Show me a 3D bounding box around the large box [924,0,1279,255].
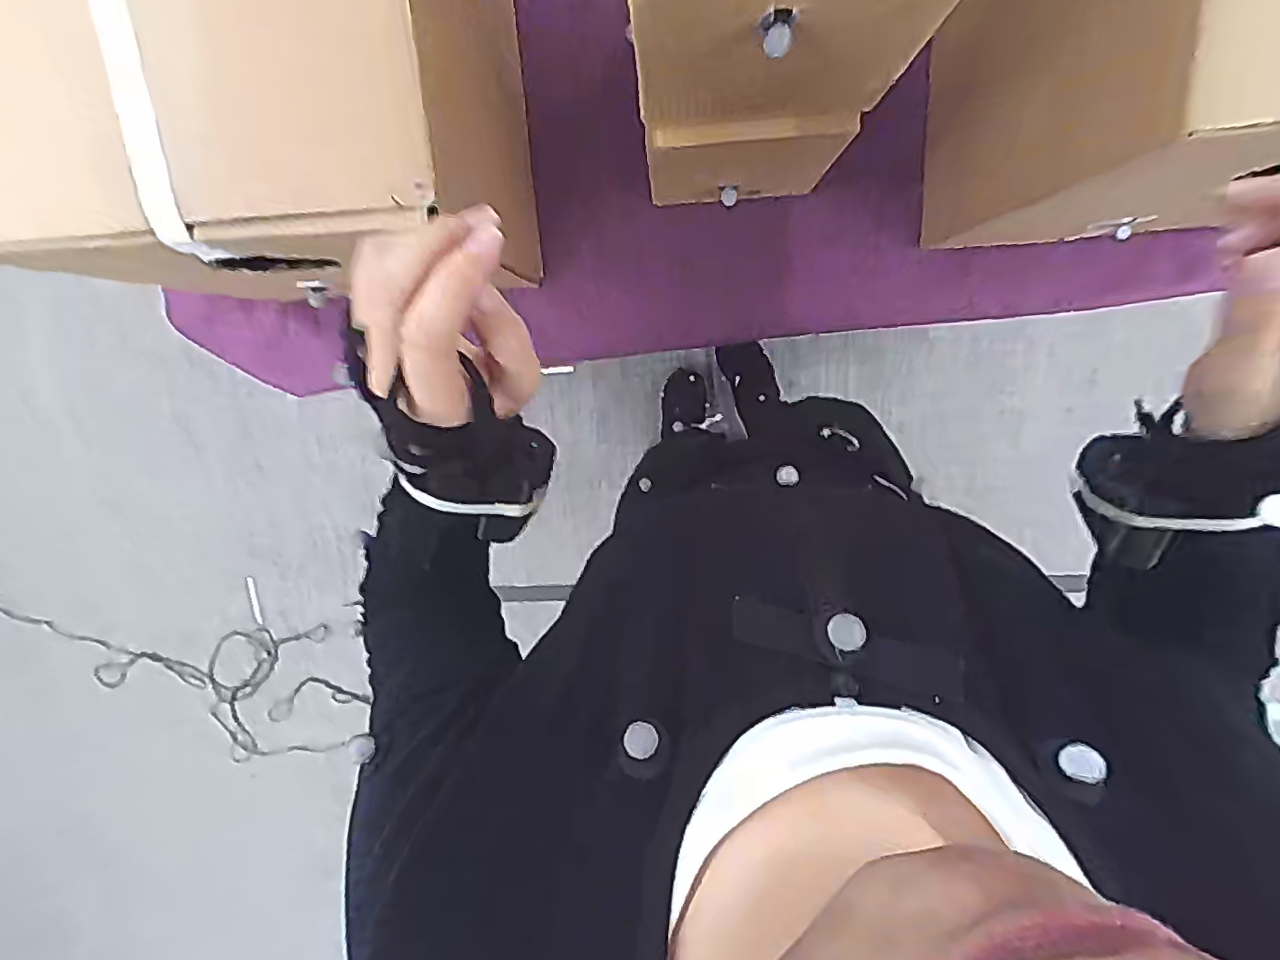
[{"bbox_3d":[0.421,-0.410,0.375,0.320,0.320,0.408,-4,101,4],"label":"large box"}]
